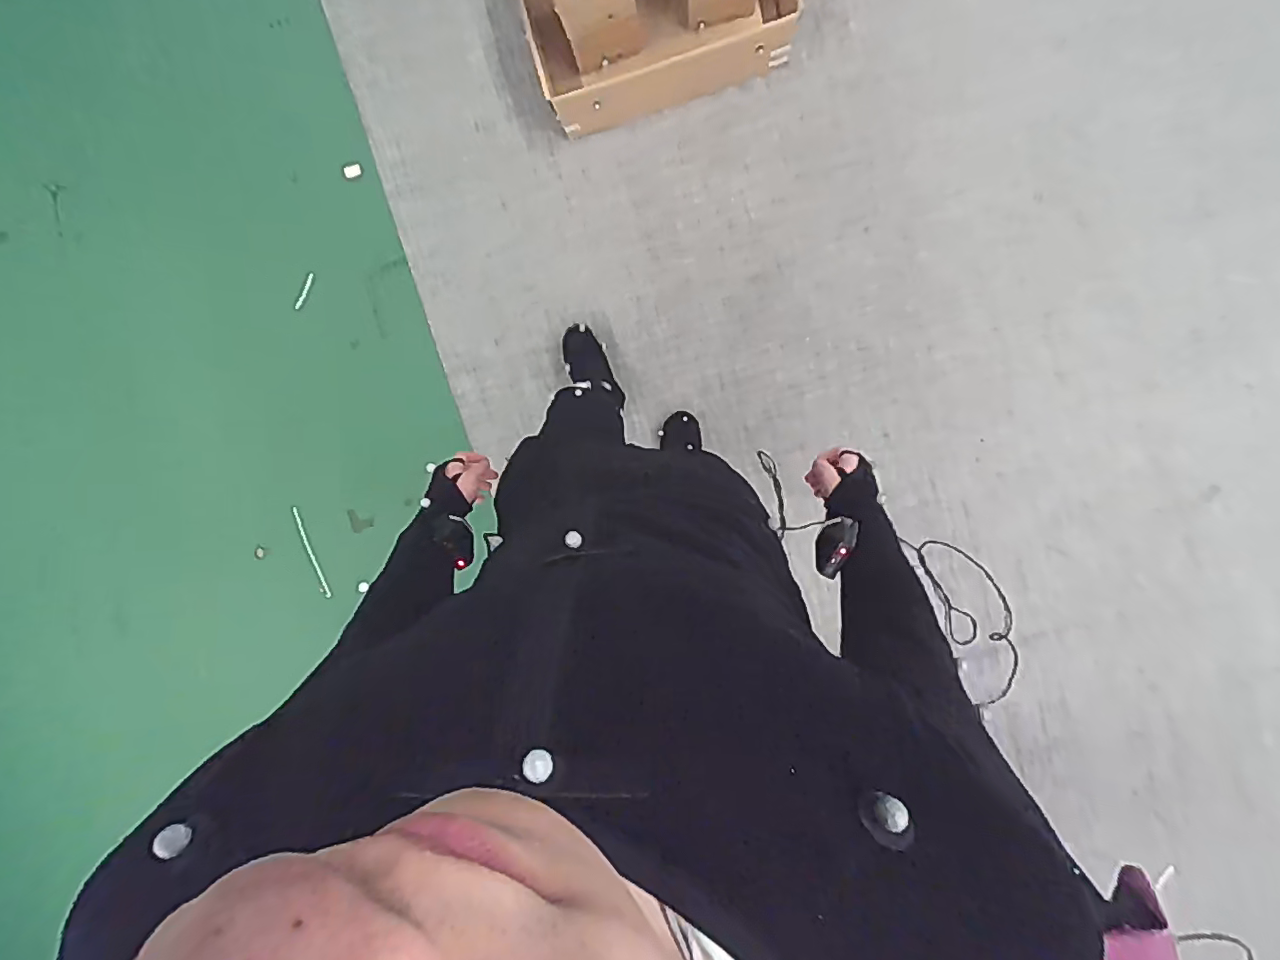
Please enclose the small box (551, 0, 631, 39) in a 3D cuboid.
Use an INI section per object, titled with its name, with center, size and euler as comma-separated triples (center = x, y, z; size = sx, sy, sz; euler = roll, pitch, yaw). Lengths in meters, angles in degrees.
[small box]
center = -0.126, -1.089, 1.128
size = 0.168, 0.176, 0.179
euler = -17, 98, 9
